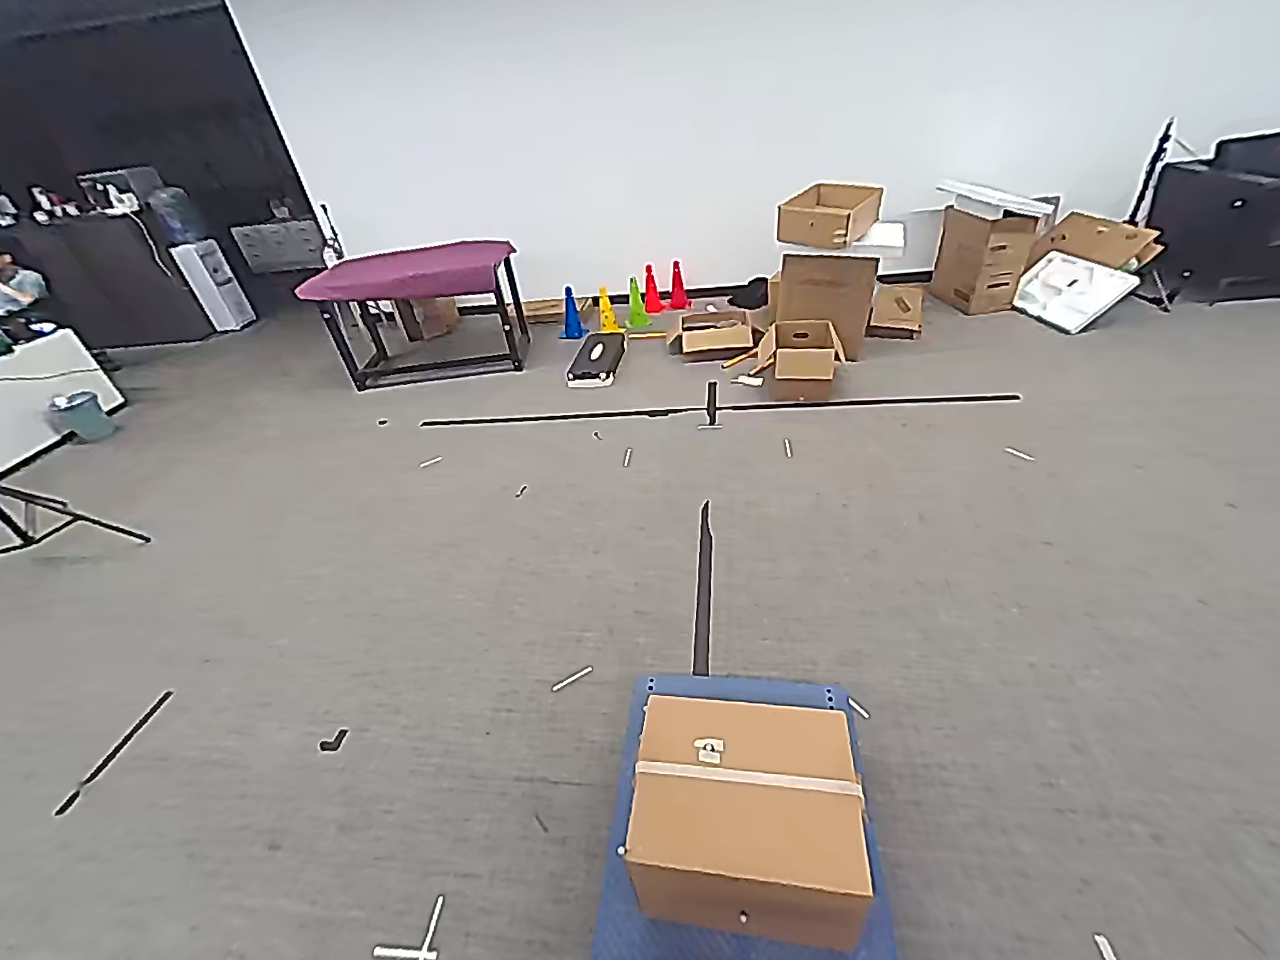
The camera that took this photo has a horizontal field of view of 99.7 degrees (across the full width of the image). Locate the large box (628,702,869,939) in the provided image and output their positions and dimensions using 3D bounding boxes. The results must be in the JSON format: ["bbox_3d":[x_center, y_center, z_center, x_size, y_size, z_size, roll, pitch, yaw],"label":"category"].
[{"bbox_3d":[0.214,0.685,1.105,0.408,0.320,0.320,-1,36,11],"label":"large box"}]
